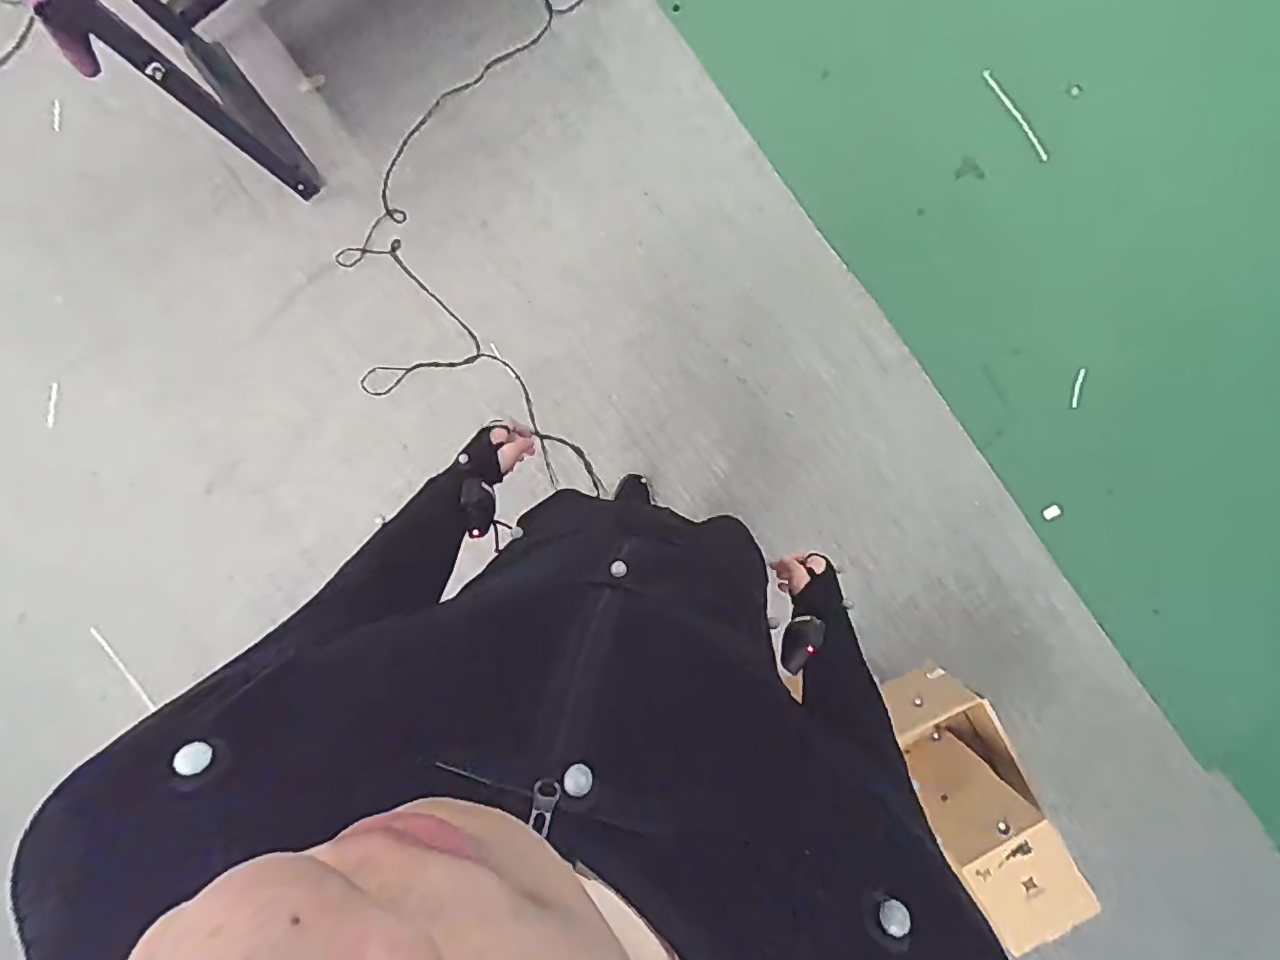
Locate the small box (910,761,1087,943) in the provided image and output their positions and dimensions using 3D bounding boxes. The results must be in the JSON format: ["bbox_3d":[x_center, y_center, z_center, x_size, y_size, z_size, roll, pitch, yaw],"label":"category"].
[{"bbox_3d":[0.634,0.659,0.979,0.168,0.176,0.179,-31,91,2],"label":"small box"}]
